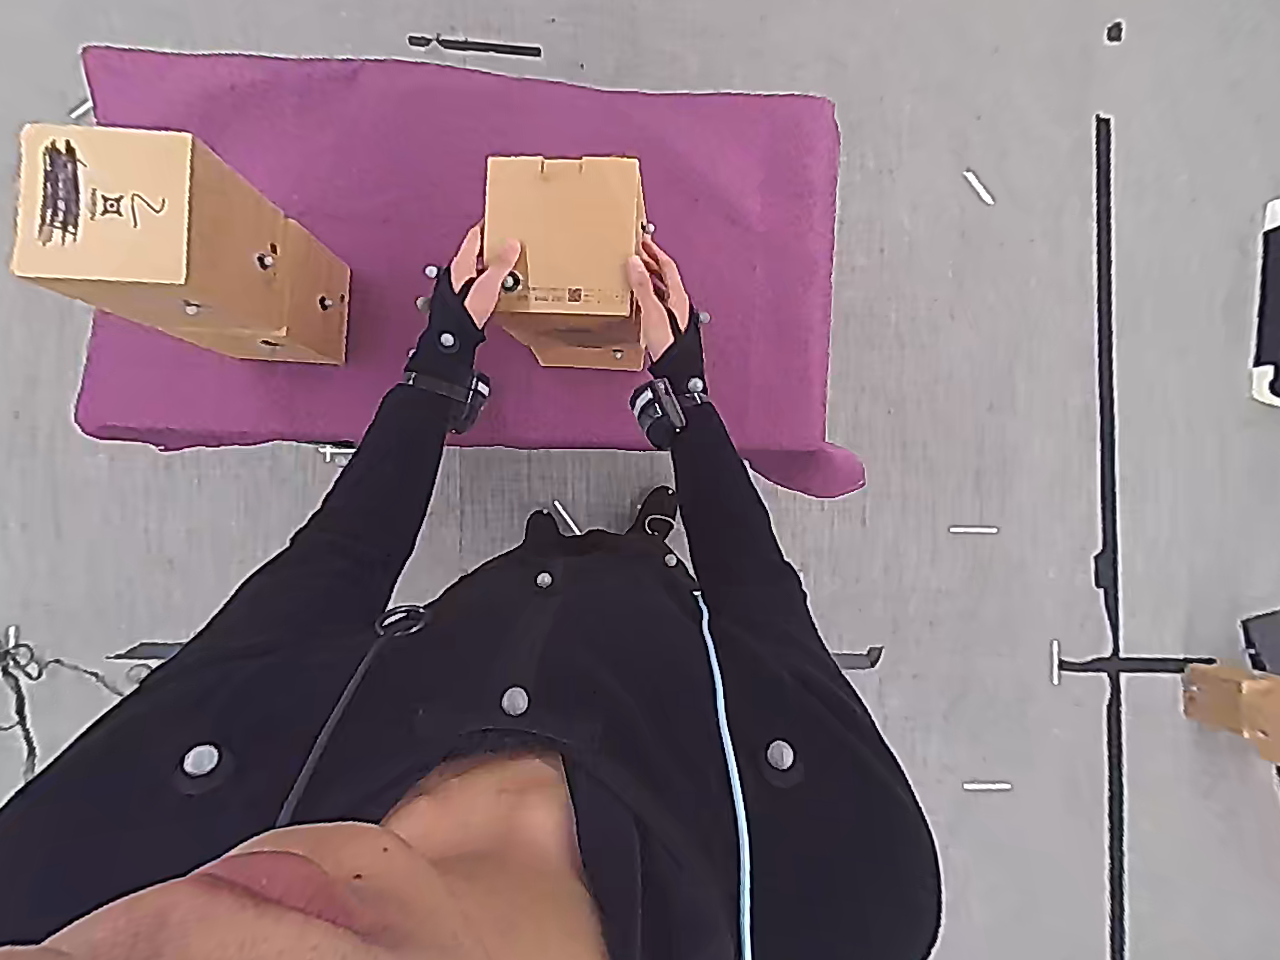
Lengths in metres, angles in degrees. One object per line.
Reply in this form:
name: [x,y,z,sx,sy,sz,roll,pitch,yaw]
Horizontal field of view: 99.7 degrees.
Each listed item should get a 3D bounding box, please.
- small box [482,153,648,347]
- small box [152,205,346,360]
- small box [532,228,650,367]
small box: [-0.081,-0.262,0.652,0.168,0.179,0.176,4,92,5]
small box: [-0.568,-0.283,0.810,0.179,0.176,0.168,3,89,-3]
small box: [-0.080,-0.277,0.837,0.179,0.176,0.168,2,89,-3]
